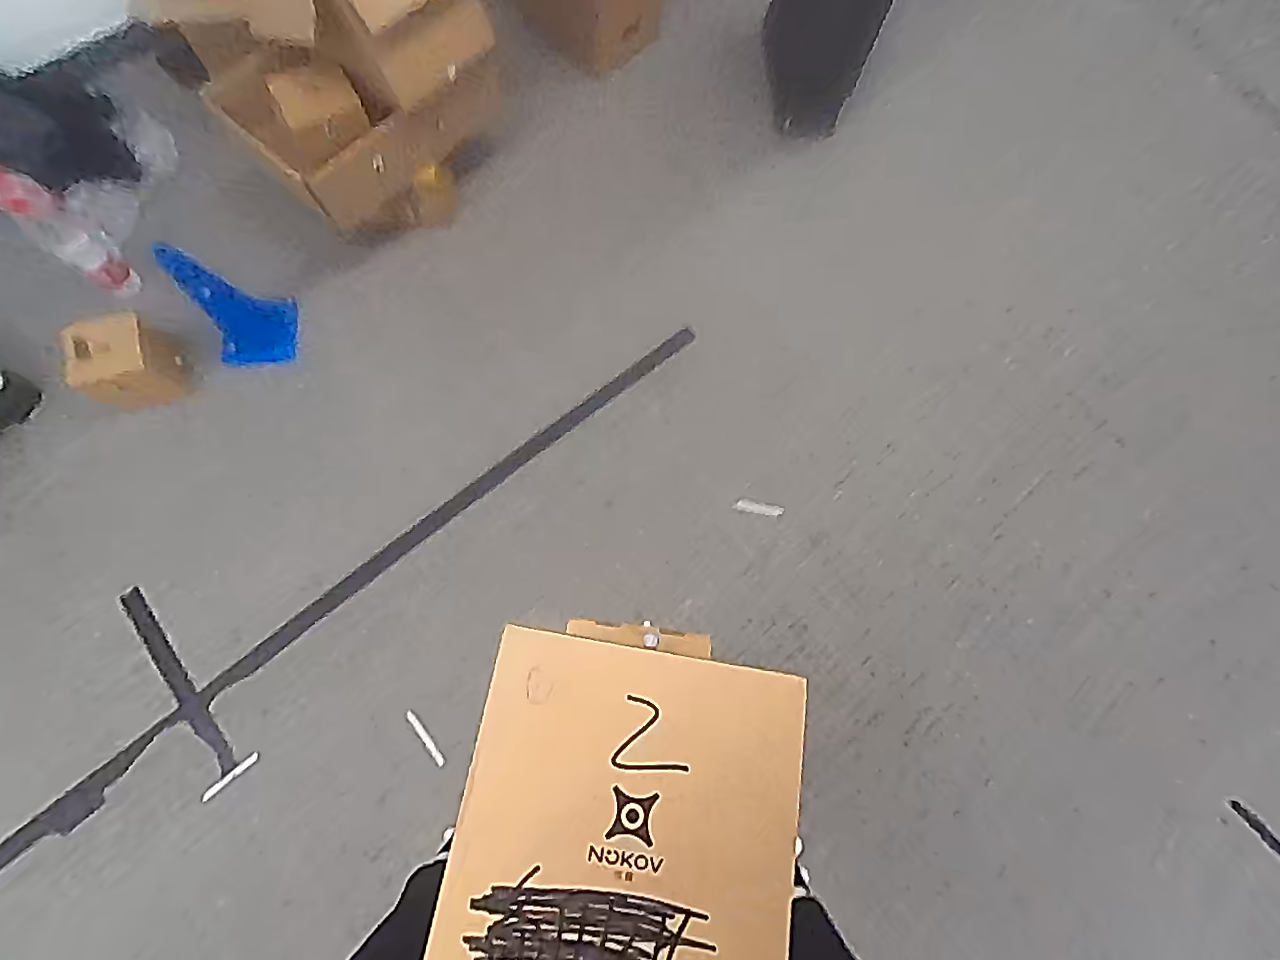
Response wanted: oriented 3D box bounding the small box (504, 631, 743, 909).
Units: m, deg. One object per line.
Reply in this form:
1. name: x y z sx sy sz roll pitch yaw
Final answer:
1. small box: -0.012 0.244 0.497 0.168 0.176 0.179 9 72 0

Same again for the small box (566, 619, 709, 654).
1. small box: -0.016 0.273 0.660 0.168 0.176 0.179 8 72 -1
